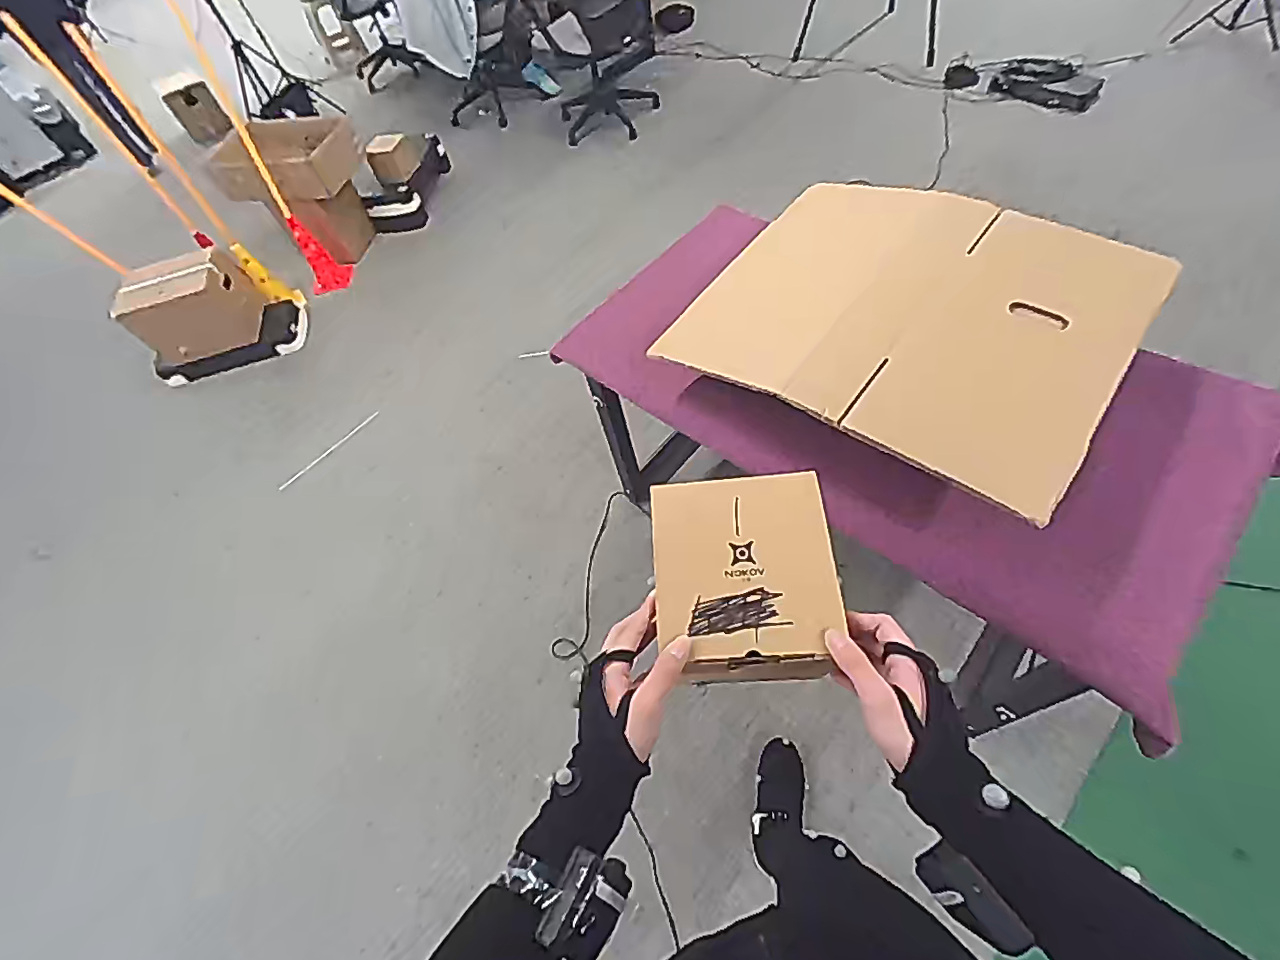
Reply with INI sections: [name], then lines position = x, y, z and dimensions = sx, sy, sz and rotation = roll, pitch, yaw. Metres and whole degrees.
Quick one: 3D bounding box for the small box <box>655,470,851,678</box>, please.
[small box]
position = 0.108, 0.108, 0.567
dimensions = 0.168, 0.176, 0.179
rotation = -4, 62, 6
